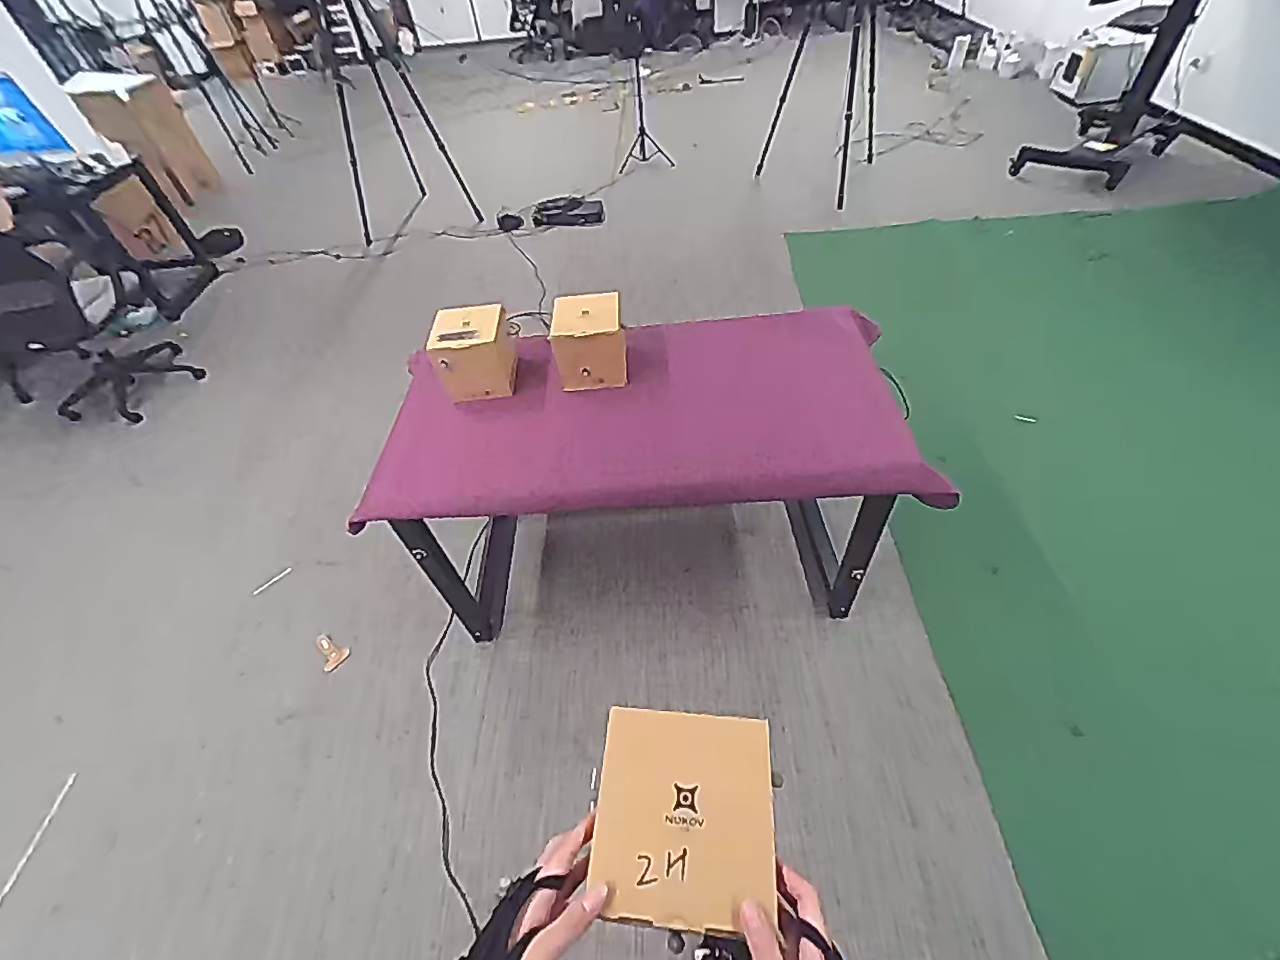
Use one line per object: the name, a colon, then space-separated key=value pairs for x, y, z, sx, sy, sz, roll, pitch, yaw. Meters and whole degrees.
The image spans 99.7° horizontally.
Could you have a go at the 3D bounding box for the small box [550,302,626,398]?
small box: x=-0.128 y=-0.334 z=1.391 sx=0.168 sy=0.176 sz=0.179 roll=-5 pitch=49 yaw=3

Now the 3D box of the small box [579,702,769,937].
small box: x=0.042 y=0.358 z=0.572 sx=0.168 sy=0.176 sz=0.179 roll=2 pitch=50 yaw=7
